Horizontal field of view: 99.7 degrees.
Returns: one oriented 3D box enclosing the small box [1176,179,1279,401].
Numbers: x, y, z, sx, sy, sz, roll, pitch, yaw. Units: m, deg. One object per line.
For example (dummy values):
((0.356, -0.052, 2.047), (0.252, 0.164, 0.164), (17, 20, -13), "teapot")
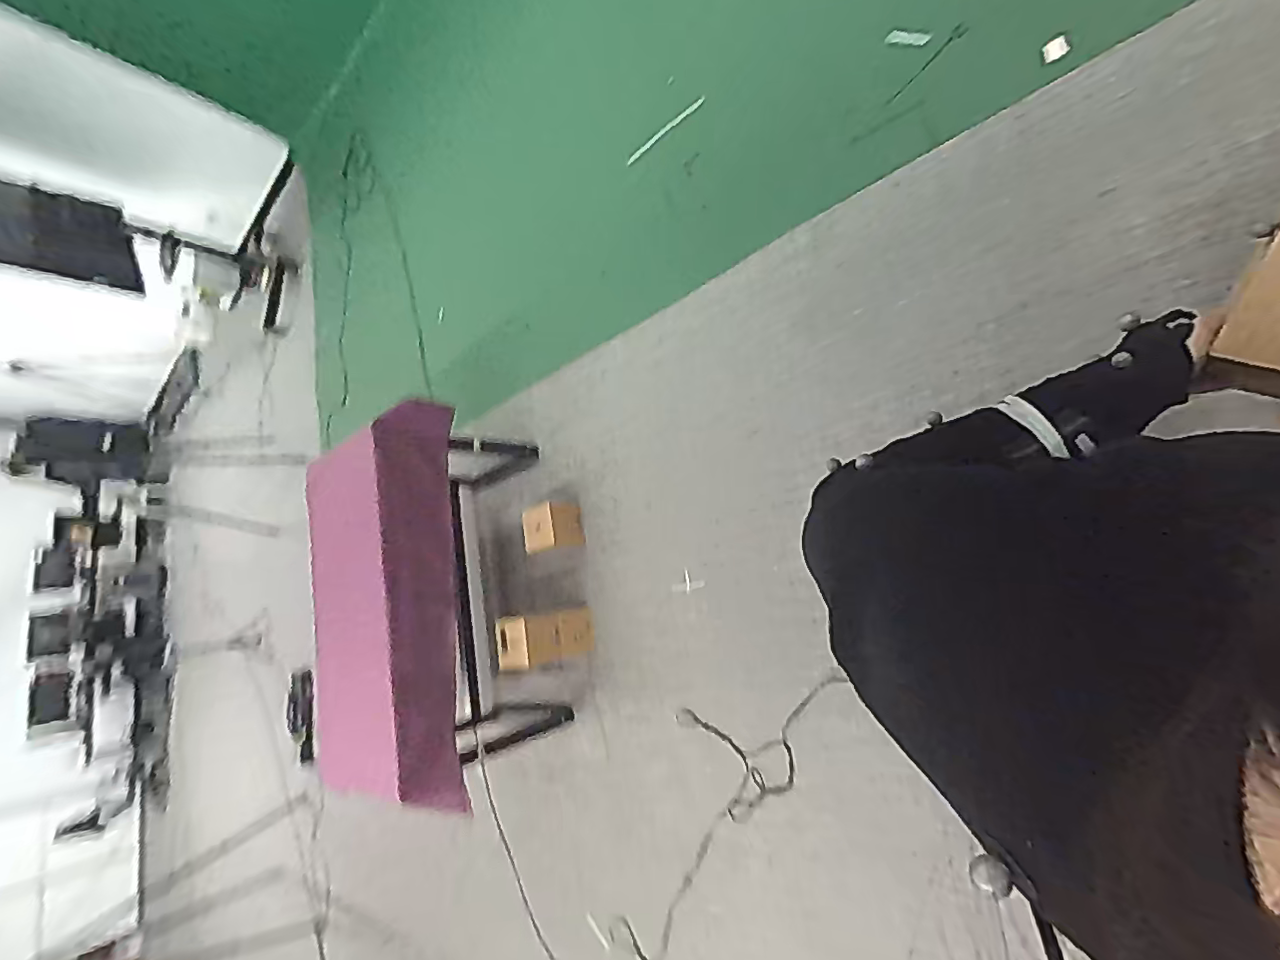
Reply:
((0.555, -0.147, 0.408), (0.168, 0.176, 0.179), (29, 112, 36), "small box")
